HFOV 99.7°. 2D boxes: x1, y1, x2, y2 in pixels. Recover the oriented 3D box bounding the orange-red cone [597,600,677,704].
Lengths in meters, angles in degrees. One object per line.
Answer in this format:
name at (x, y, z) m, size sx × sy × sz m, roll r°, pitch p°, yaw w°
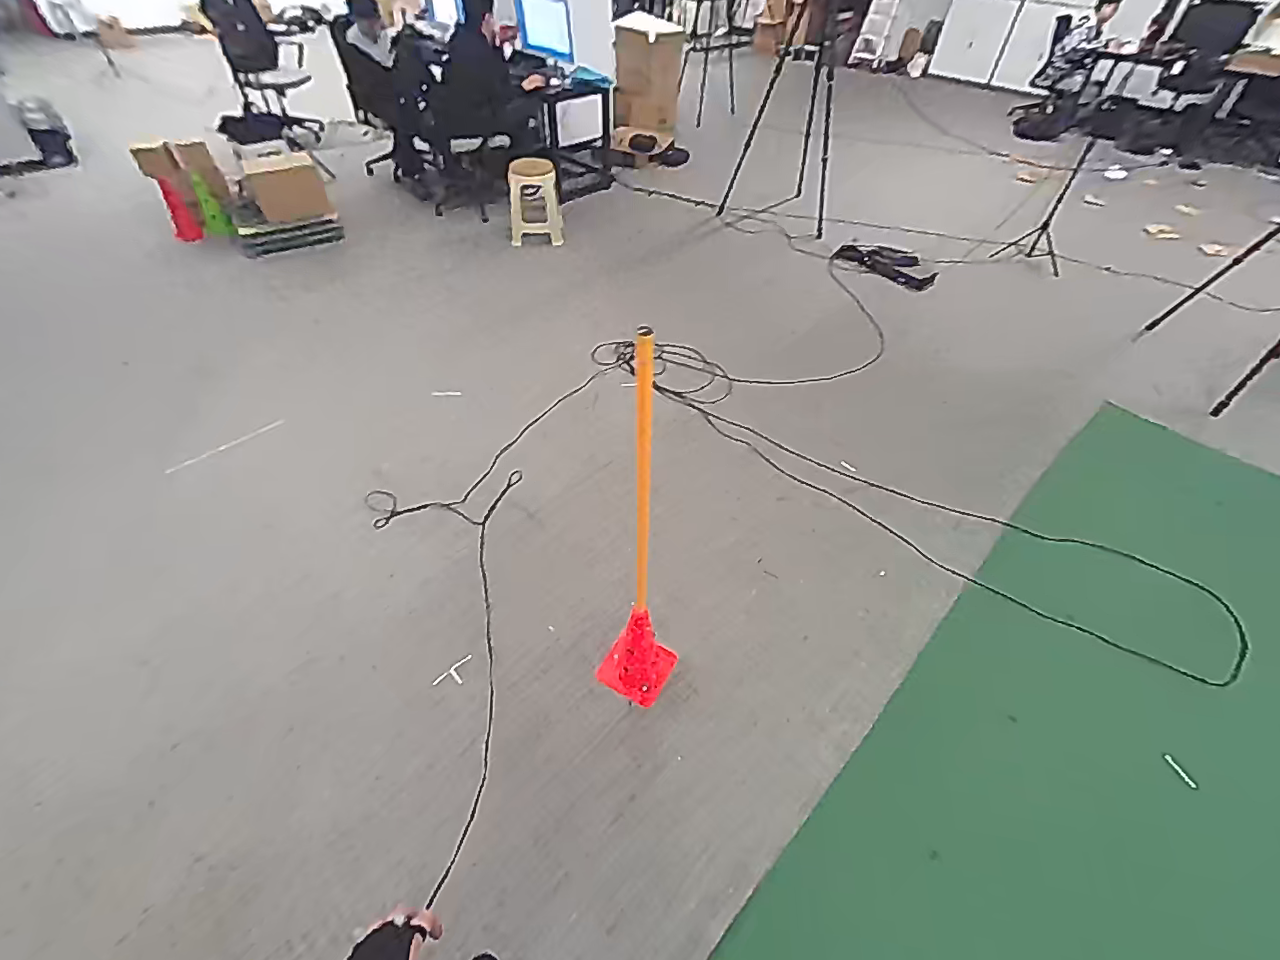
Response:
orange-red cone at (0.001, 0.452, 1.553) m, size 0.198 × 0.360 × 0.199 m, roll 25°, pitch 49°, yaw 19°
